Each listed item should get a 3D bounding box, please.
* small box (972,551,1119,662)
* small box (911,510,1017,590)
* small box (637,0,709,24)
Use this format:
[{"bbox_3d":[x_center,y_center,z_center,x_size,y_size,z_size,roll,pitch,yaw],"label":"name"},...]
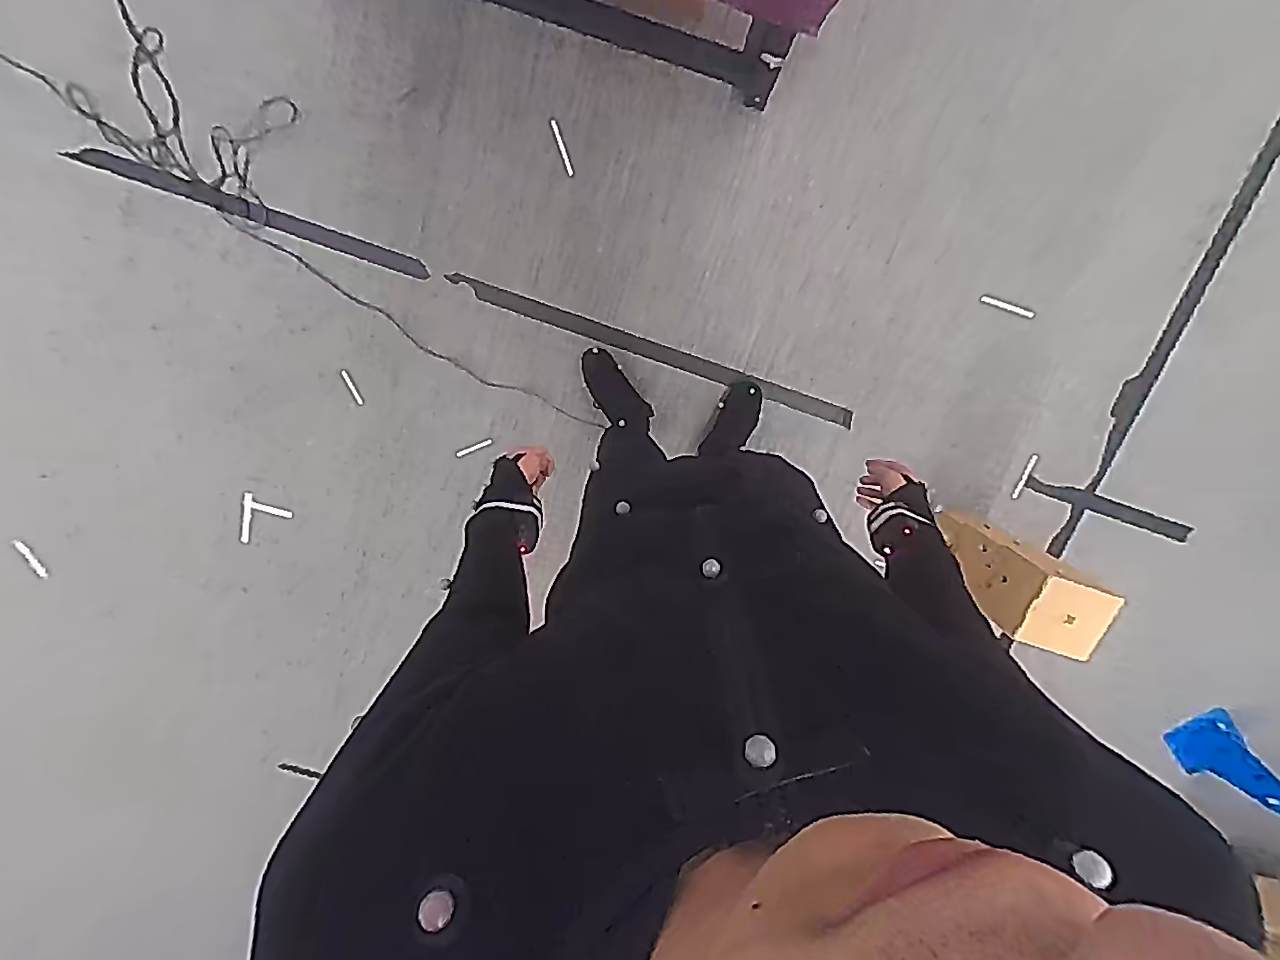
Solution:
[{"bbox_3d":[0.922,0.284,1.250,0.179,0.176,0.168,18,106,-2],"label":"small box"},{"bbox_3d":[0.930,0.202,1.567,0.179,0.176,0.168,15,105,0],"label":"small box"},{"bbox_3d":[0.093,-1.197,1.237,0.179,0.176,0.168,18,104,-2],"label":"small box"}]
